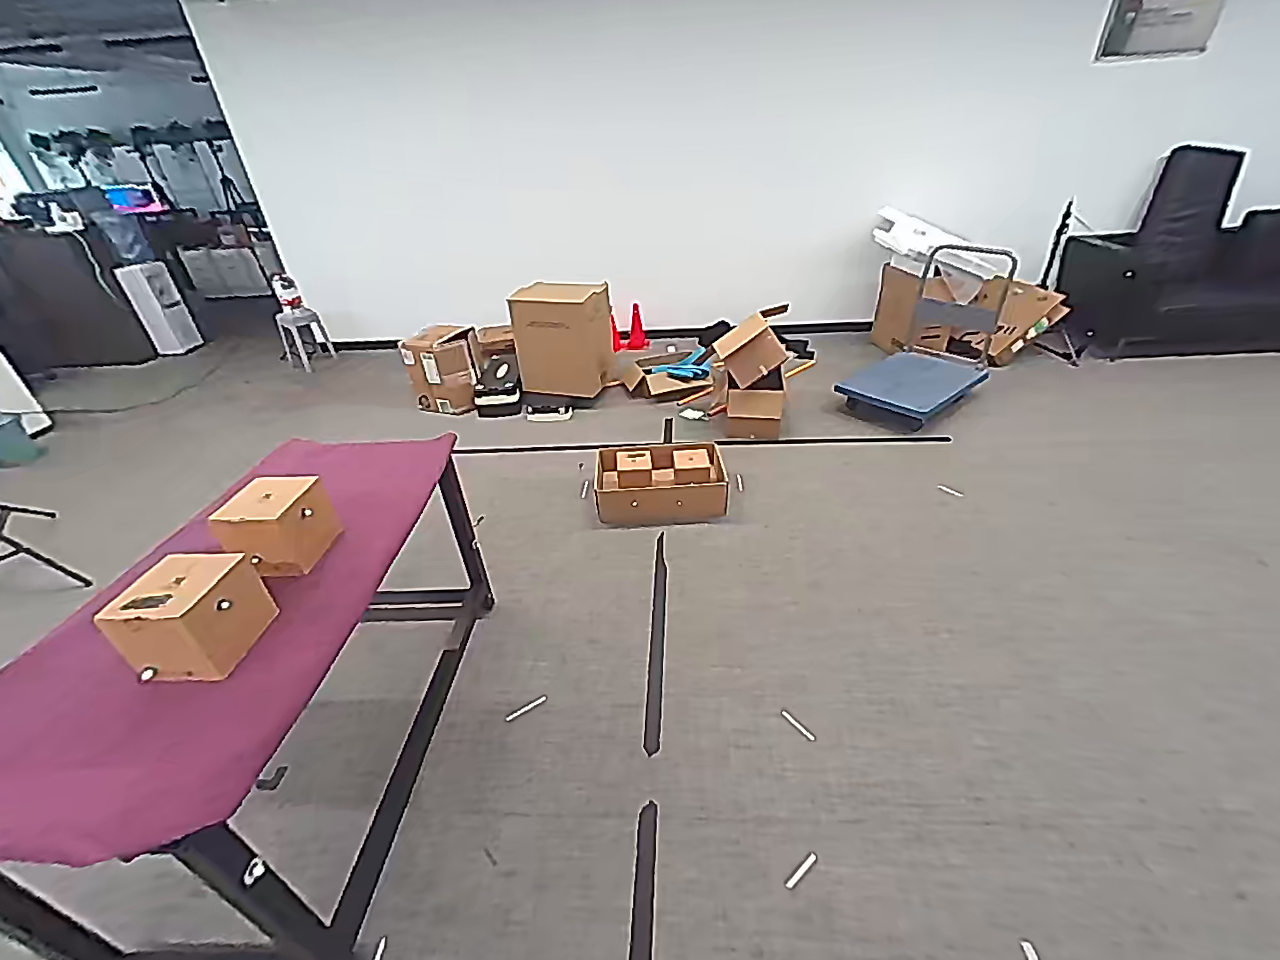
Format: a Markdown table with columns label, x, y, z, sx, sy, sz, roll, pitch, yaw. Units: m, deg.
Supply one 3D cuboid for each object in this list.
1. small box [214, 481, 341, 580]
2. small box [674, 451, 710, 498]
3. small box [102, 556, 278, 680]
| label | x | y | z | sx | sy | sz | roll | pitch | yaw |
| --- | --- | --- | --- | --- | --- | --- | --- | --- | --- |
| small box | -0.850 | 0.117 | 1.294 | 0.168 | 0.176 | 0.179 | -1 | 33 | 5 |
| small box | 0.255 | -0.023 | 2.647 | 0.168 | 0.176 | 0.179 | -3 | 32 | 1 |
| small box | -0.855 | 0.269 | 1.053 | 0.168 | 0.176 | 0.179 | -1 | 32 | 4 |
